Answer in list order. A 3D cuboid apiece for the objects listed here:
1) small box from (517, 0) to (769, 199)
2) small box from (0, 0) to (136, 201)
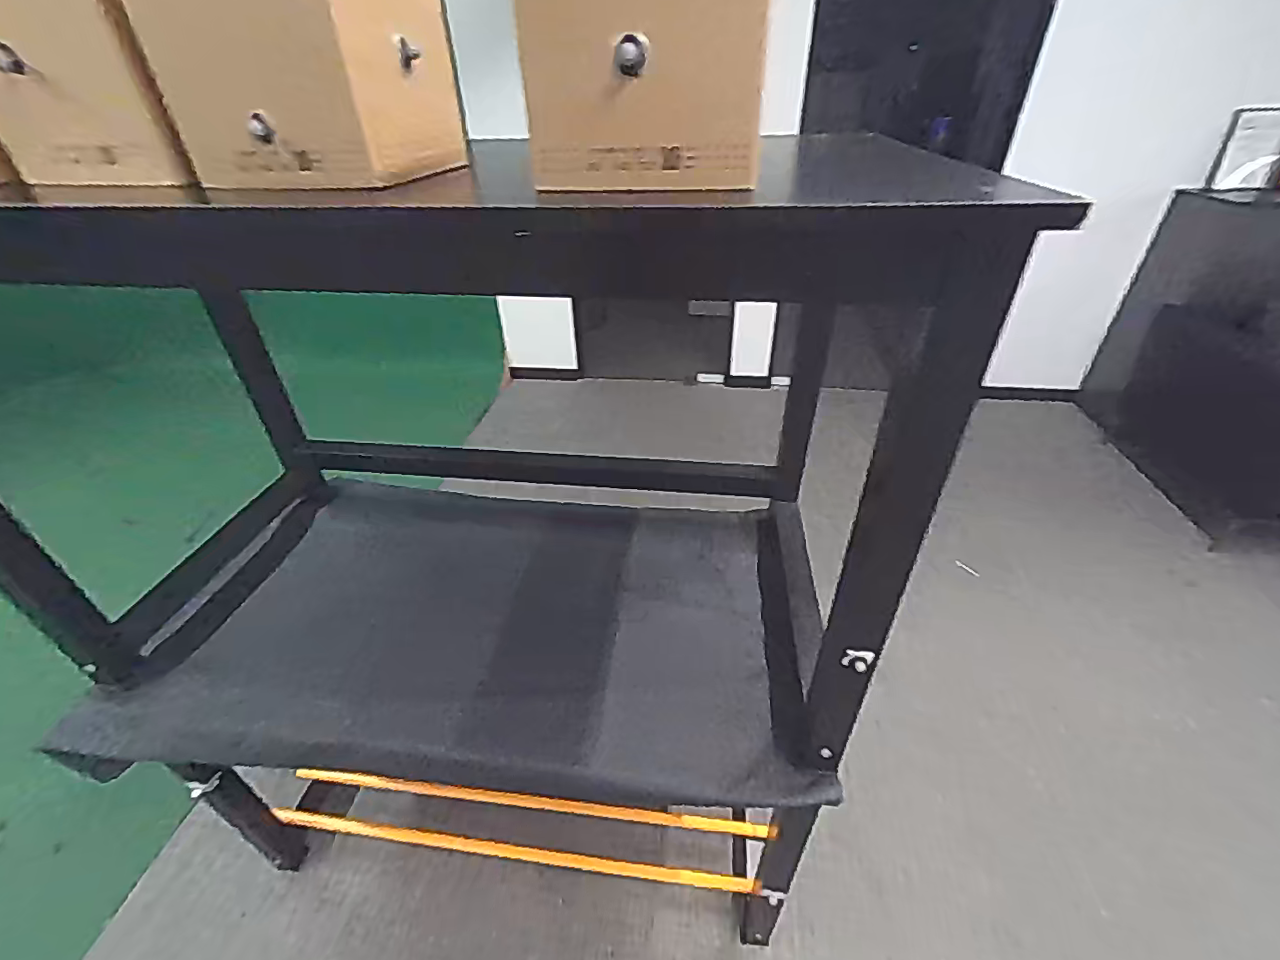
[{"bbox_3d":[0.012,-0.324,0.423,0.168,0.176,0.179,4,36,7],"label":"small box"},{"bbox_3d":[-0.659,-0.382,0.529,0.168,0.176,0.179,4,37,8],"label":"small box"}]
